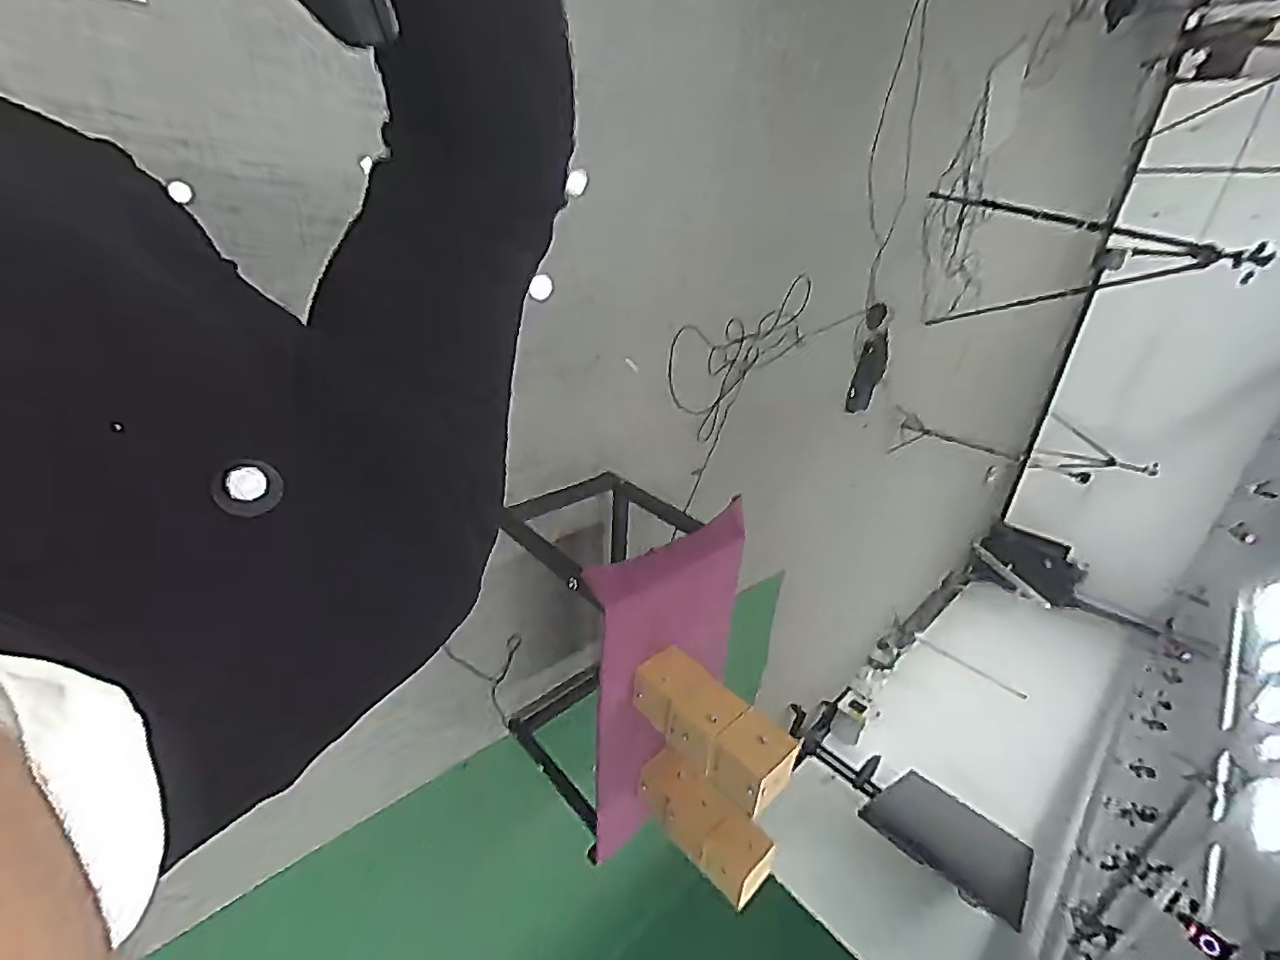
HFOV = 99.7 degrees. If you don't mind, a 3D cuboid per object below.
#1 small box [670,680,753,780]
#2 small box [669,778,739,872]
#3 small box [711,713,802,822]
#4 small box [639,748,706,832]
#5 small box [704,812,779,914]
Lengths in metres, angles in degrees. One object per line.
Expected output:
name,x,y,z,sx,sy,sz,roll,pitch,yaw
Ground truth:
small box,0.211,0.746,1.631,0.179,0.176,0.168,-17,123,-39
small box,0.219,1.198,1.887,0.179,0.176,0.168,-21,123,-39
small box,0.327,0.803,1.529,0.179,0.176,0.168,-20,123,-39
small box,0.121,1.141,2.006,0.179,0.176,0.168,-16,120,-40
small box,0.330,1.256,1.784,0.179,0.176,0.168,-20,123,-39
